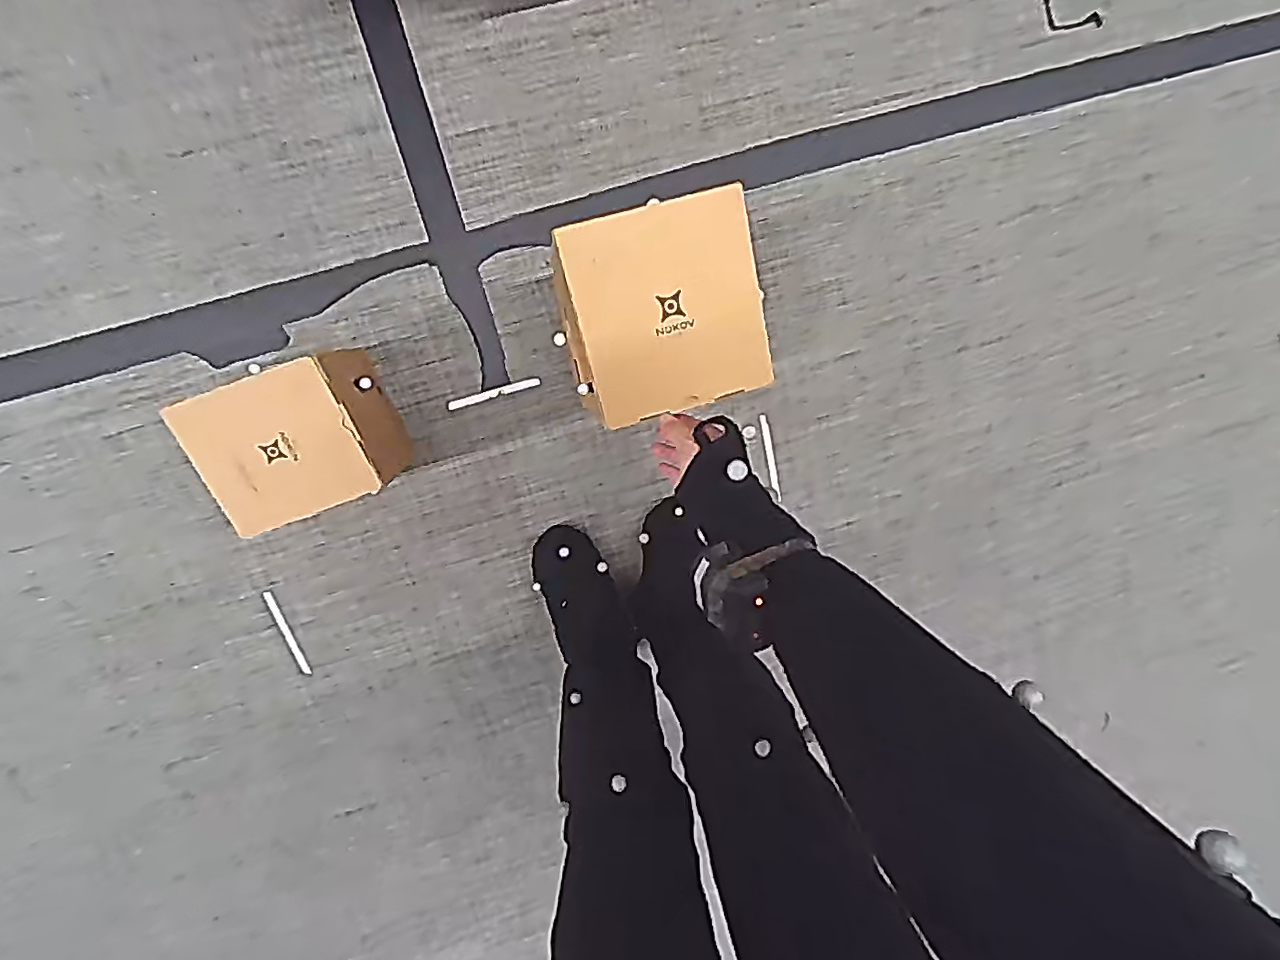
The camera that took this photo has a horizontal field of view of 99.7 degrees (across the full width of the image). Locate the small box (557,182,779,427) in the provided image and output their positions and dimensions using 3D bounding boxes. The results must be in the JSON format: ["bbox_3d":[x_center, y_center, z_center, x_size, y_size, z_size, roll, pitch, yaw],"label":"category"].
[{"bbox_3d":[0.018,-0.169,0.543,0.168,0.176,0.179,-17,109,-5],"label":"small box"}]

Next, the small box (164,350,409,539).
[{"bbox_3d":[-0.412,-0.056,0.677,0.179,0.176,0.168,-21,107,-2],"label":"small box"}]

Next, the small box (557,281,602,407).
[{"bbox_3d":[-0.005,-0.202,0.700,0.179,0.176,0.168,-12,107,-6],"label":"small box"}]
